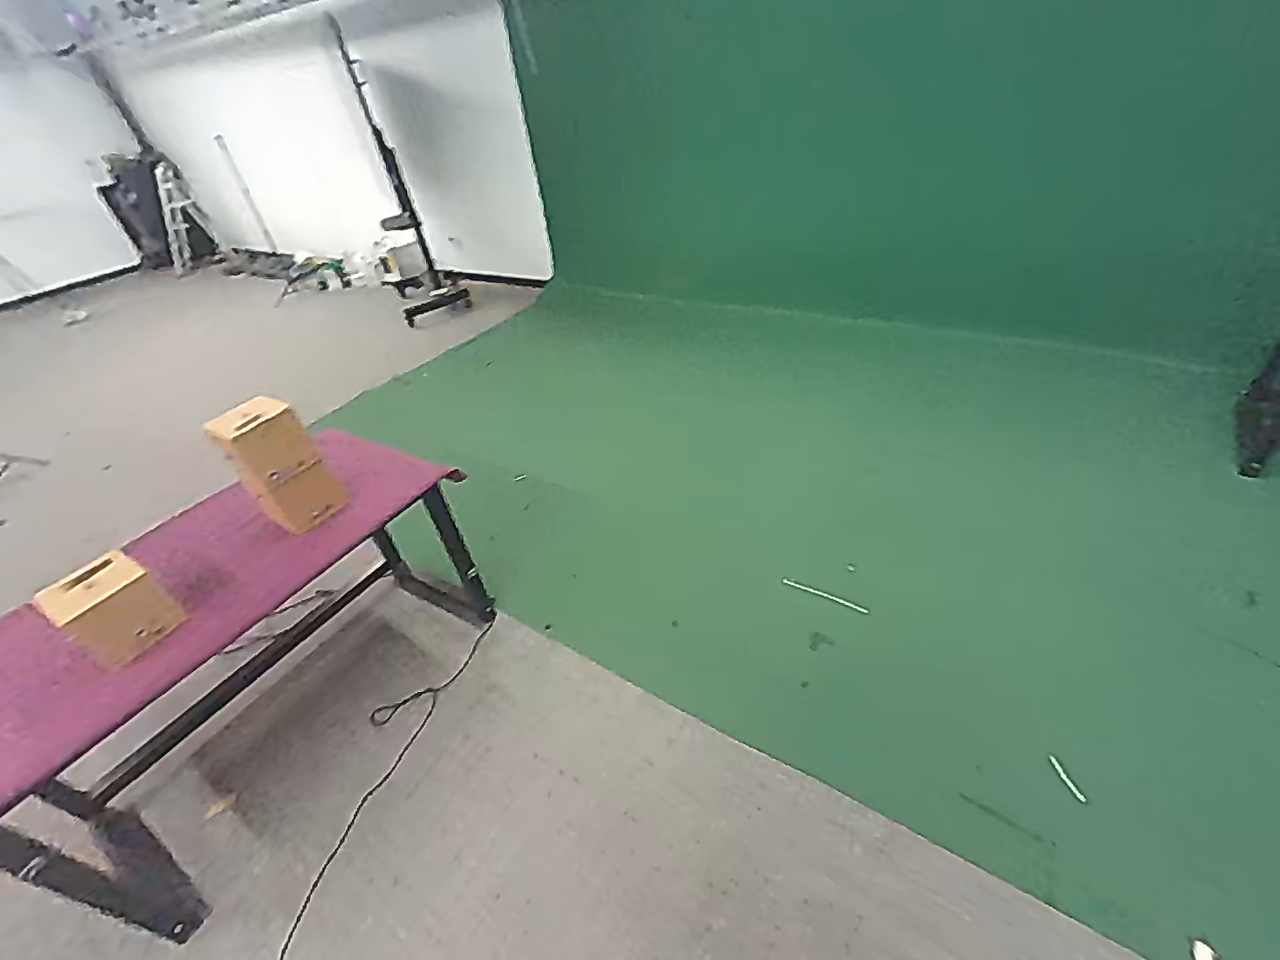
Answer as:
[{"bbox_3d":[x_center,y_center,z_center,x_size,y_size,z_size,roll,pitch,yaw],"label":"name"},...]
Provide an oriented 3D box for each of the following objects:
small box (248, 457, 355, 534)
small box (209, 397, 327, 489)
[{"bbox_3d":[-0.963,0.028,1.545,0.179,0.176,0.168,18,46,31],"label":"small box"},{"bbox_3d":[-0.983,-0.098,1.443,0.179,0.176,0.168,16,45,31],"label":"small box"}]
